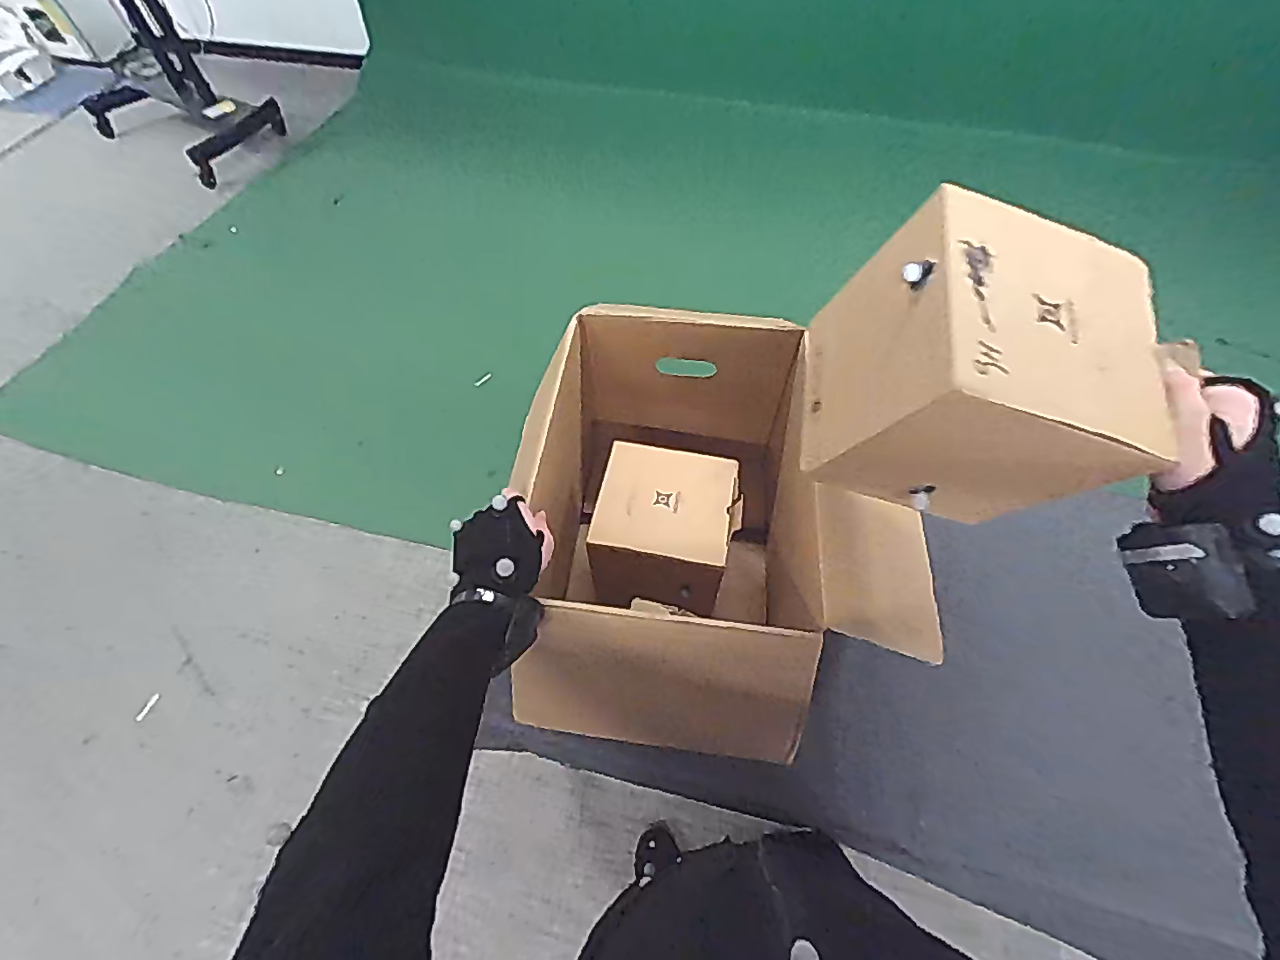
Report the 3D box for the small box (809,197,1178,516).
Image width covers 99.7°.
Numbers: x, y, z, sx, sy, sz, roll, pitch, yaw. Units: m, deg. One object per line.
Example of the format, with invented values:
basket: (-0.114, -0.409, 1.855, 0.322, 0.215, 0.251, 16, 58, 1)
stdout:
small box: (0.264, -0.078, 0.438, 0.179, 0.176, 0.168, 14, 69, -11)
